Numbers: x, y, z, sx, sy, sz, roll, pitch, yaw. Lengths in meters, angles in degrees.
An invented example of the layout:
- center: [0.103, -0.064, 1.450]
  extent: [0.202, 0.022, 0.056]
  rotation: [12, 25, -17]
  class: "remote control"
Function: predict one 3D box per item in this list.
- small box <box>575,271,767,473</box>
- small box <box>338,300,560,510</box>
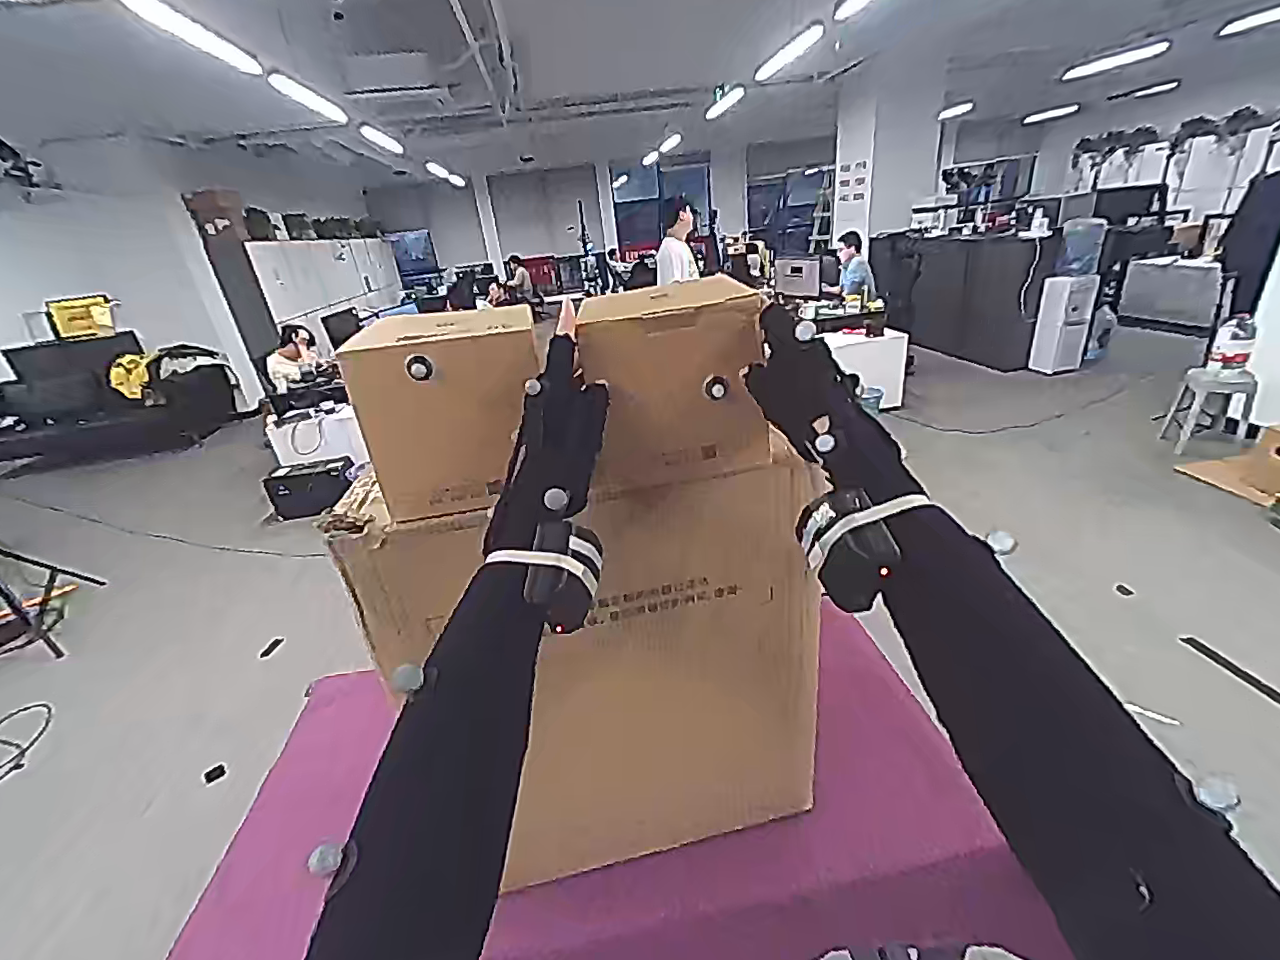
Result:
- center: [0.032, -0.114, 0.572]
  extent: [0.168, 0.176, 0.179]
  rotation: [-9, 24, 0]
  class: "small box"
- center: [-0.179, -0.086, 0.565]
  extent: [0.168, 0.176, 0.179]
  rotation: [-10, 25, -7]
  class: "small box"
